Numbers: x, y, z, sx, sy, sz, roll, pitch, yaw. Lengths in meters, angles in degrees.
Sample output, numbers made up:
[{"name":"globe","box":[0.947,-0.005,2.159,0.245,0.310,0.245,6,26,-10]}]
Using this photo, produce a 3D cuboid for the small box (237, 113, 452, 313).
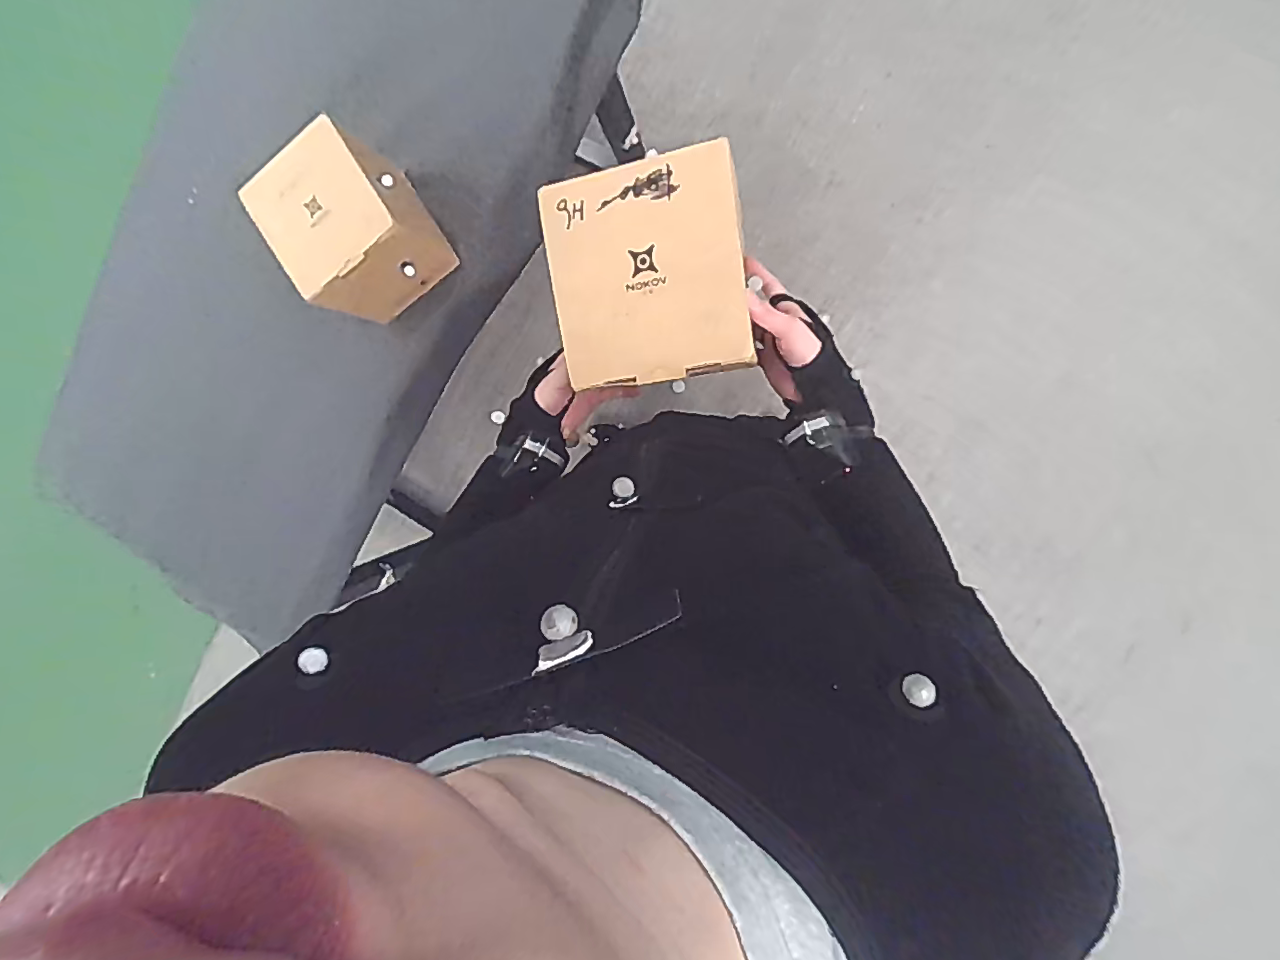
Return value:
[{"name":"small box","box":[-0.407,-0.360,0.775,0.168,0.176,0.179,-34,89,11]}]

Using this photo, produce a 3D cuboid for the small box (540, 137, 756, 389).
[{"name":"small box","box":[0.023,-0.192,0.529,0.168,0.176,0.179,-7,100,12]}]
